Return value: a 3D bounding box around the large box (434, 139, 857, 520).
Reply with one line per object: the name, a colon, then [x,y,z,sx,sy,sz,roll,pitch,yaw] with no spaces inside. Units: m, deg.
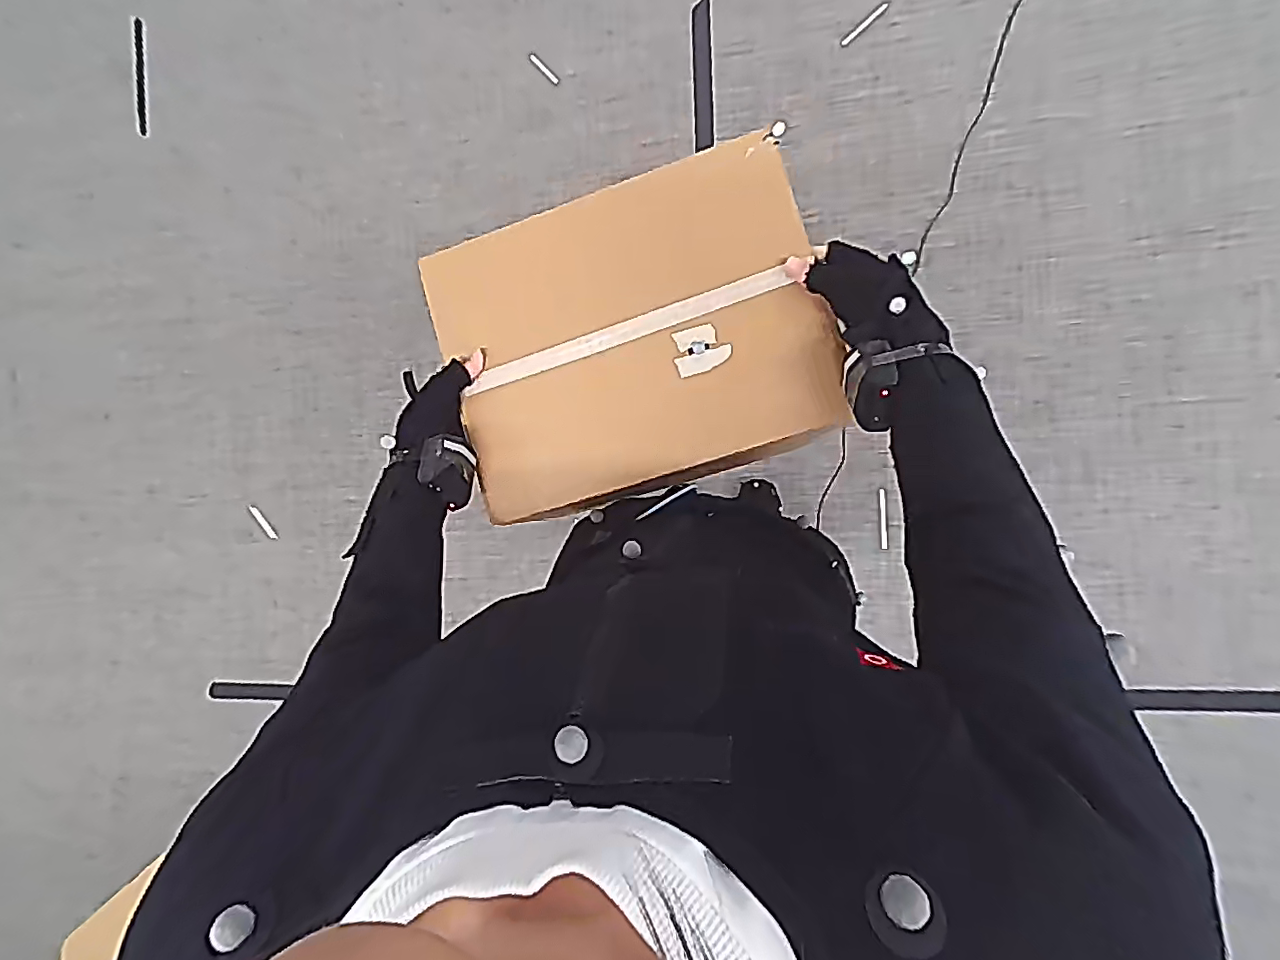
large box: [0.010,-0.154,0.734,0.408,0.320,0.320,-18,87,6]
